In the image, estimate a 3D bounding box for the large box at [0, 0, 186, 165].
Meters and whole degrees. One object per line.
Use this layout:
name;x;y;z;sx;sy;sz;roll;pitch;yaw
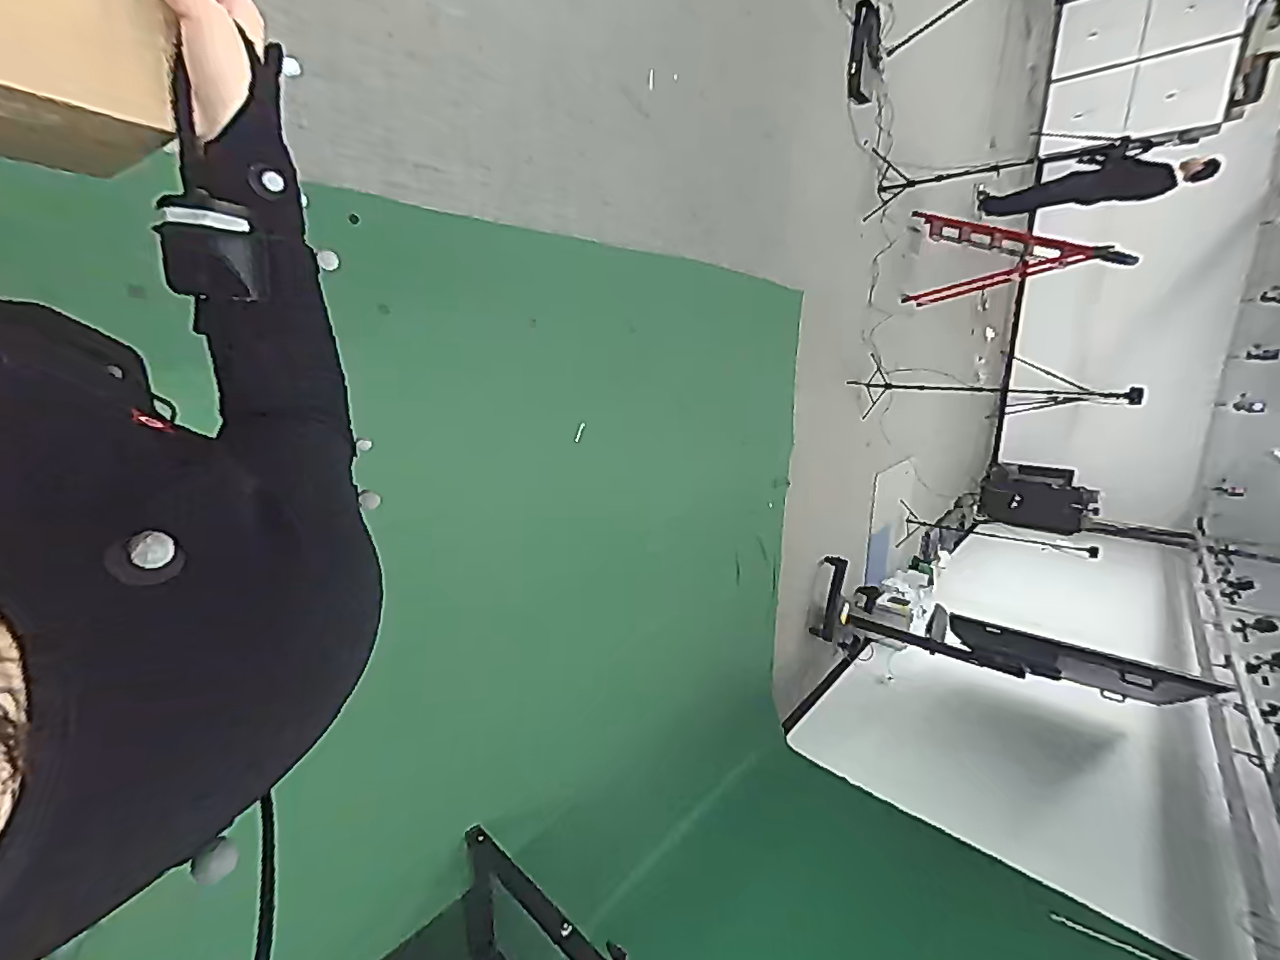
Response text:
large box;-0.534;-0.396;0.265;0.408;0.320;0.320;-12;114;-50
